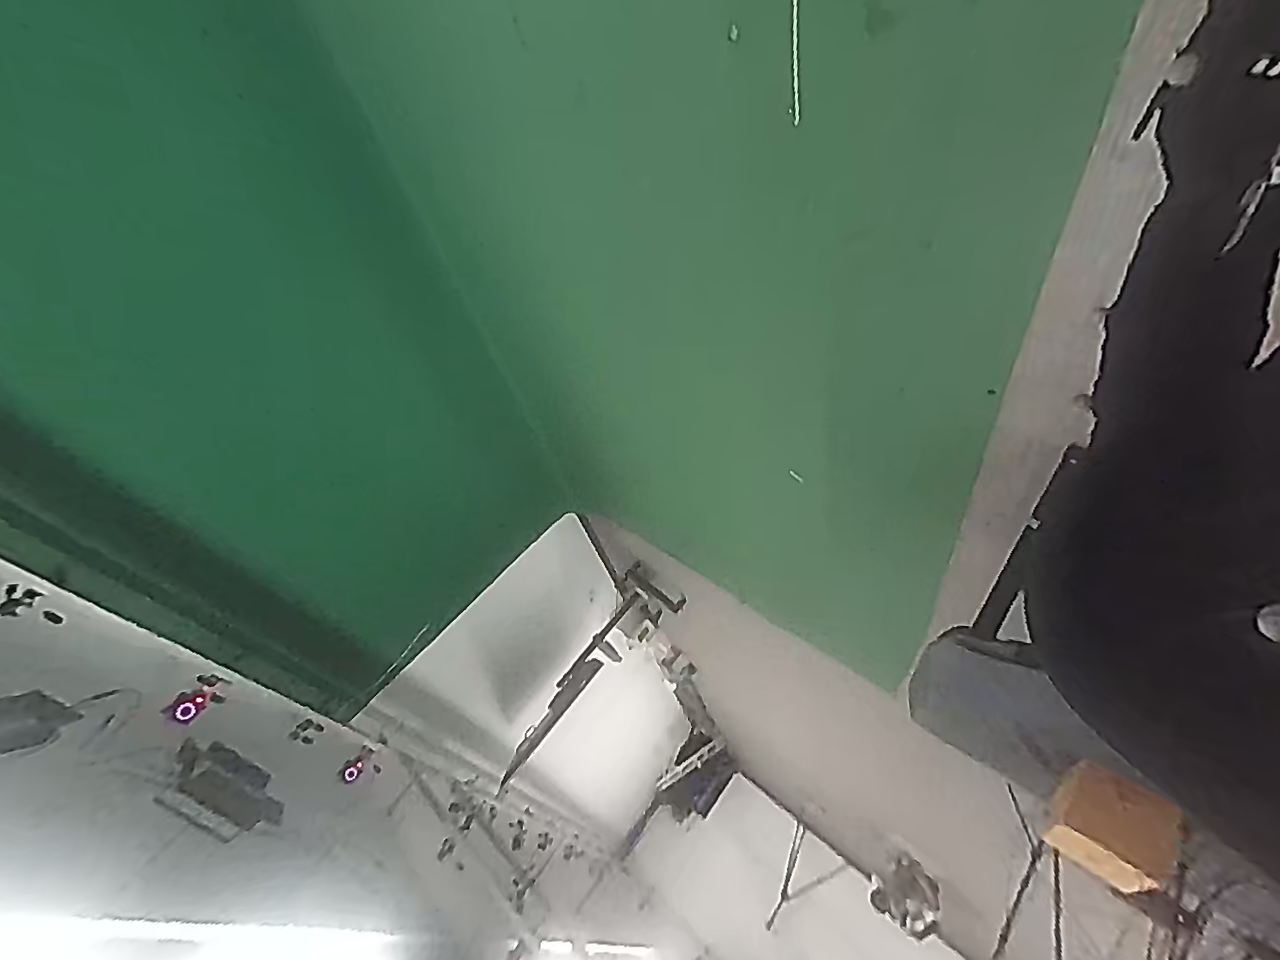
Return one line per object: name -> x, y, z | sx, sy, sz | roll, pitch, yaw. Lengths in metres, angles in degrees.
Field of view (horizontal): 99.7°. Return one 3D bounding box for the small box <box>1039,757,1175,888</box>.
small box -> 1.028, 0.752, 1.195 | 0.168, 0.176, 0.179 | 27, 152, 35
